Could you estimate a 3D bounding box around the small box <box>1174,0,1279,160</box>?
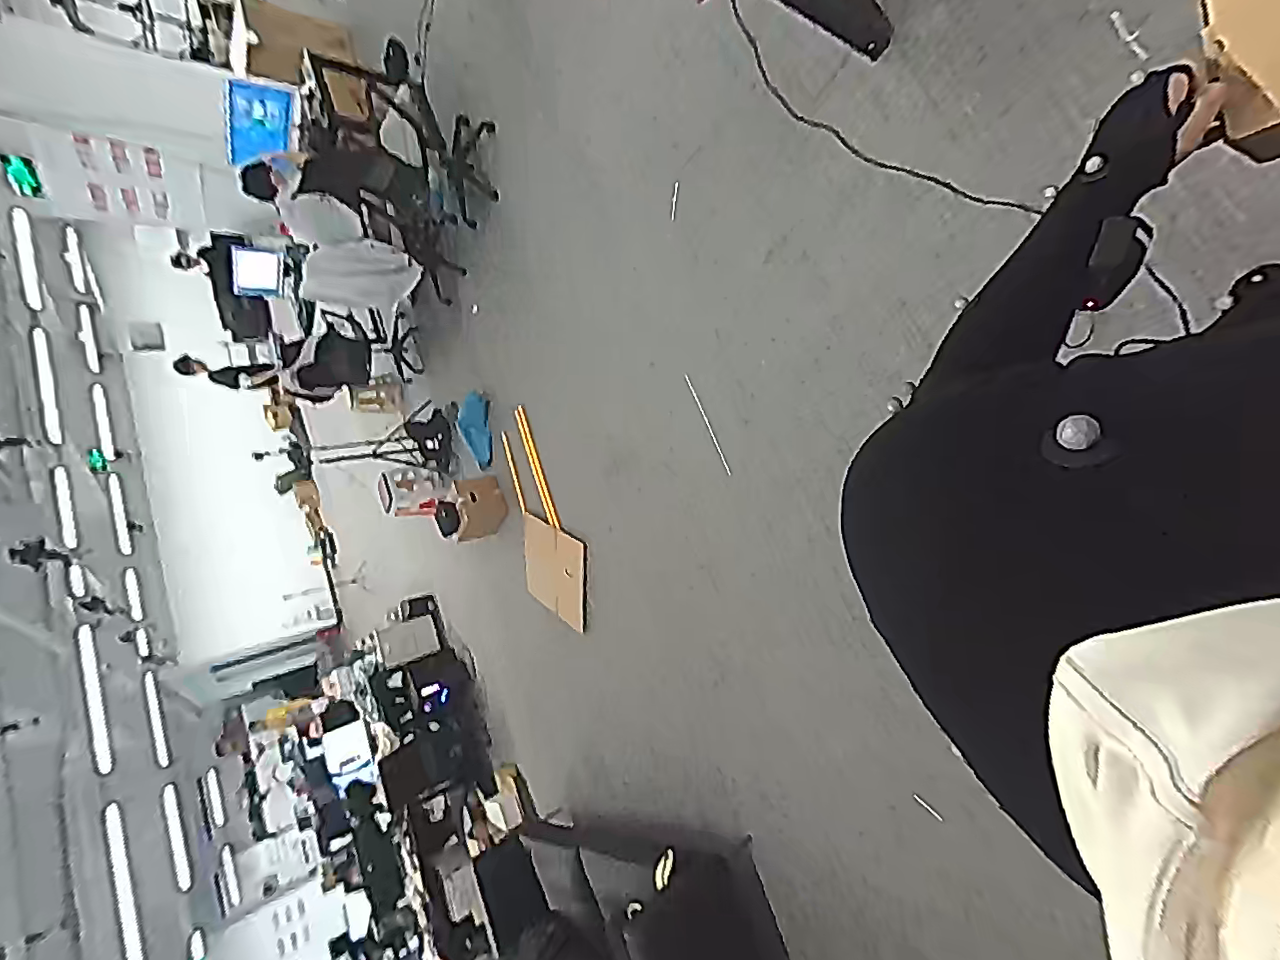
[{"bbox_3d":[0.599,-0.400,0.453,0.179,0.176,0.168,-9,95,57],"label":"small box"}]
